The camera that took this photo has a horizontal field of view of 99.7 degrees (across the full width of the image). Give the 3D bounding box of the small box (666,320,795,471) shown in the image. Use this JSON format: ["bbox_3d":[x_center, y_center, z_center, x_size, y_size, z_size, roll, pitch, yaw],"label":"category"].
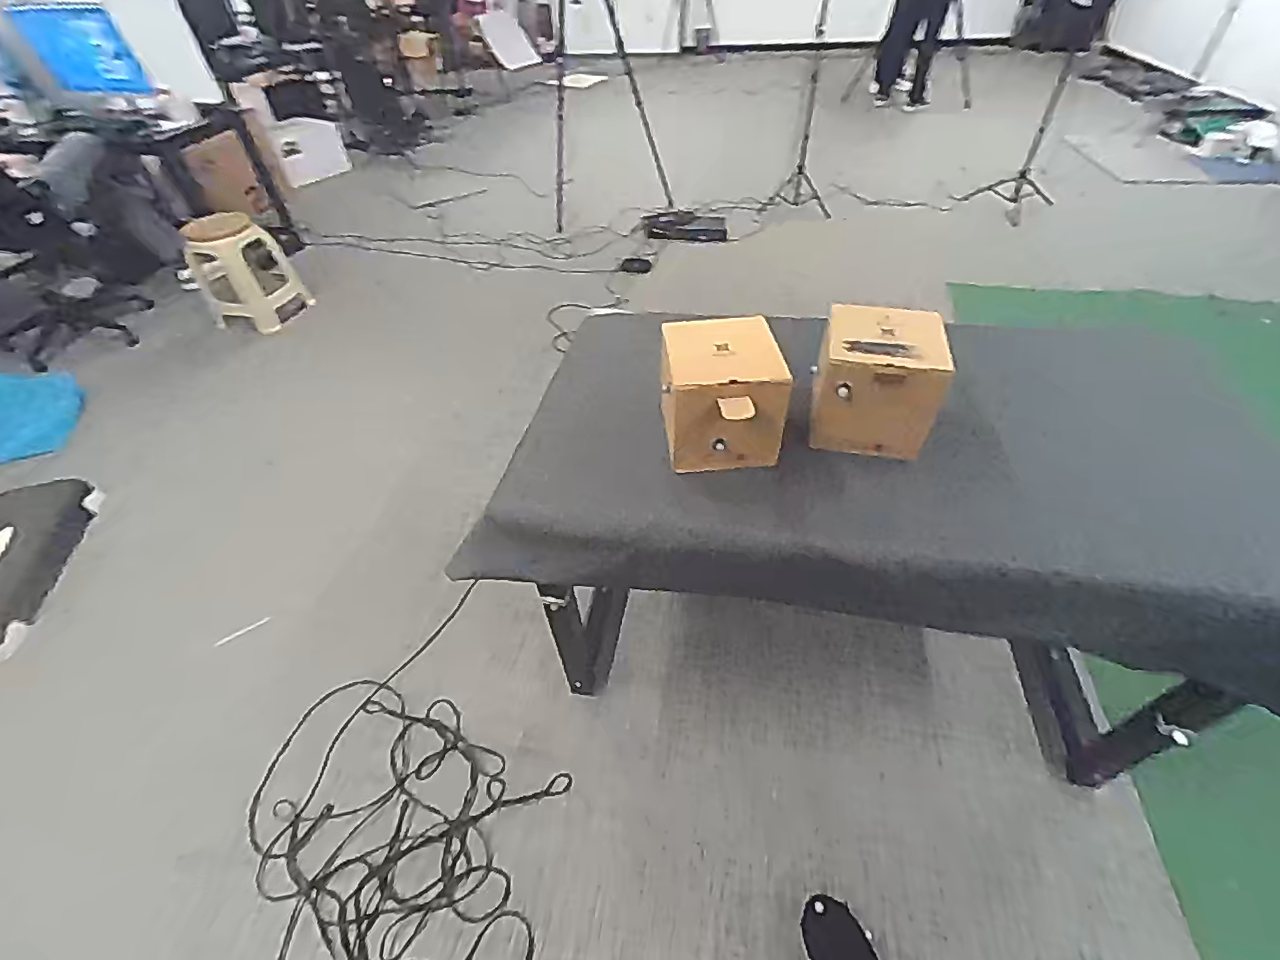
[{"bbox_3d":[0.130,-0.134,0.858,0.168,0.176,0.179,-4,45,-2],"label":"small box"}]
